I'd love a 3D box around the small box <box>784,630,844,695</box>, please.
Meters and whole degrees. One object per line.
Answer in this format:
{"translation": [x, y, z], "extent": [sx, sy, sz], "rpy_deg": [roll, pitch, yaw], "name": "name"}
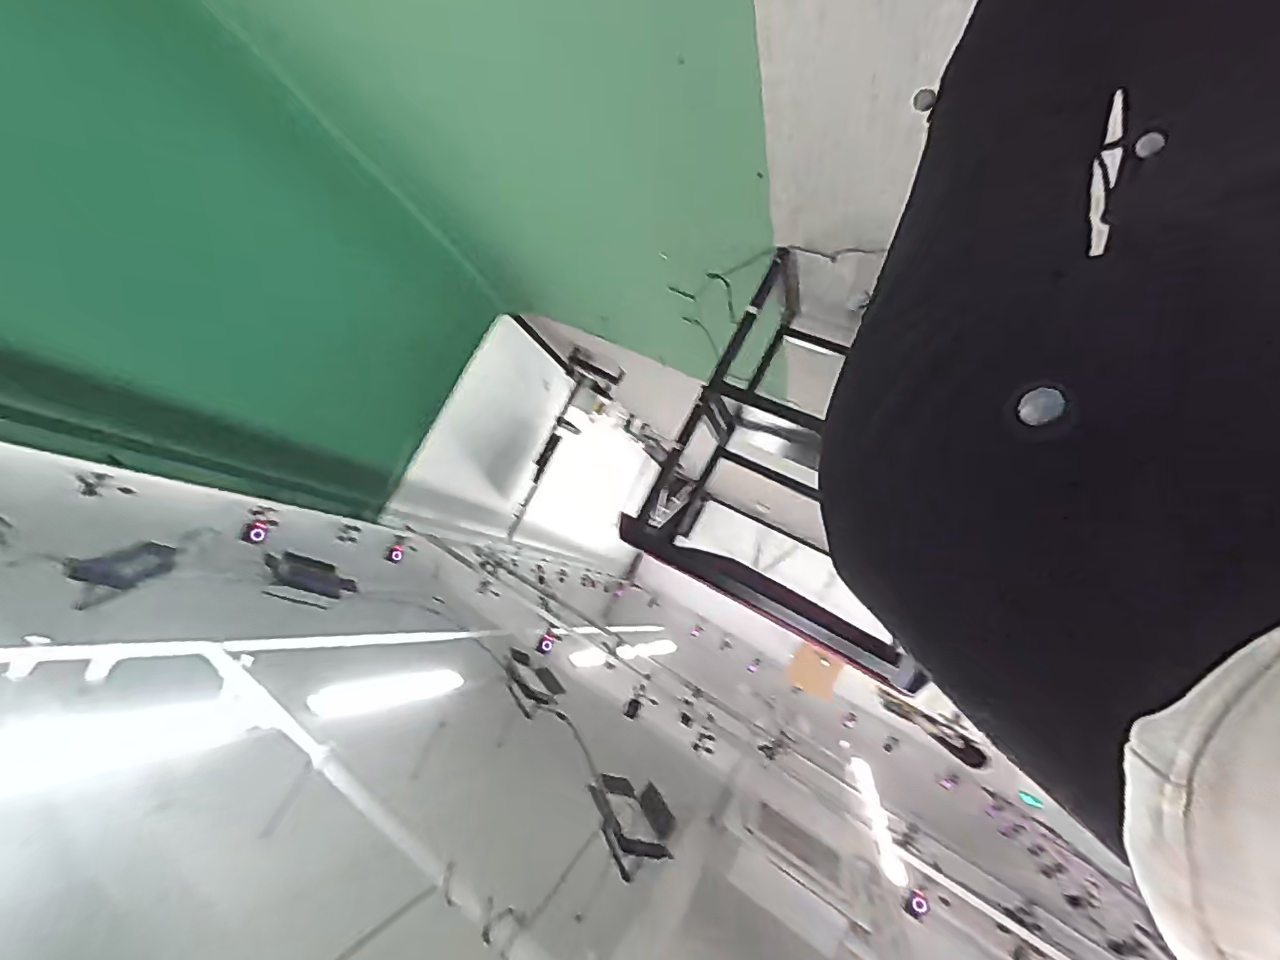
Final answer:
{"translation": [0.663, 0.688, 2.063], "extent": [0.168, 0.176, 0.179], "rpy_deg": [26, 176, 19], "name": "small box"}
